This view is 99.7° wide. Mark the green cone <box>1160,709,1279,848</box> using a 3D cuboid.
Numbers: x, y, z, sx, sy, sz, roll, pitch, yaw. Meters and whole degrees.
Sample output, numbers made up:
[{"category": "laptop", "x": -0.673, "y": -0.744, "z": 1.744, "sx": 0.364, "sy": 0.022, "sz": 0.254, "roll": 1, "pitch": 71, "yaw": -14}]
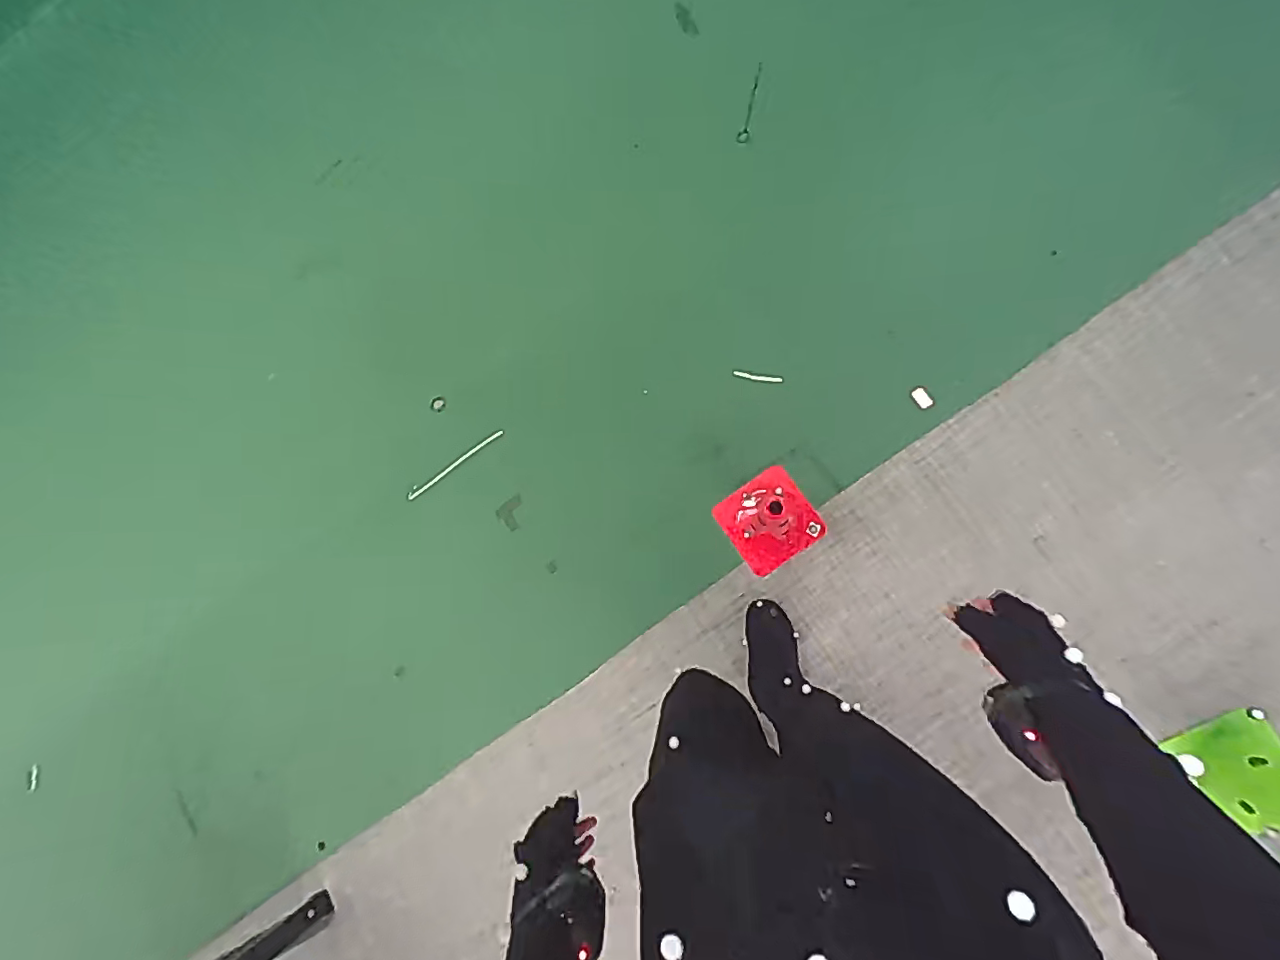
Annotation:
[{"category": "green cone", "x": 1.106, "y": 0.542, "z": 0.865, "sx": 0.200, "sy": 0.368, "sz": 0.202, "roll": -31, "pitch": 77, "yaw": 6}]
